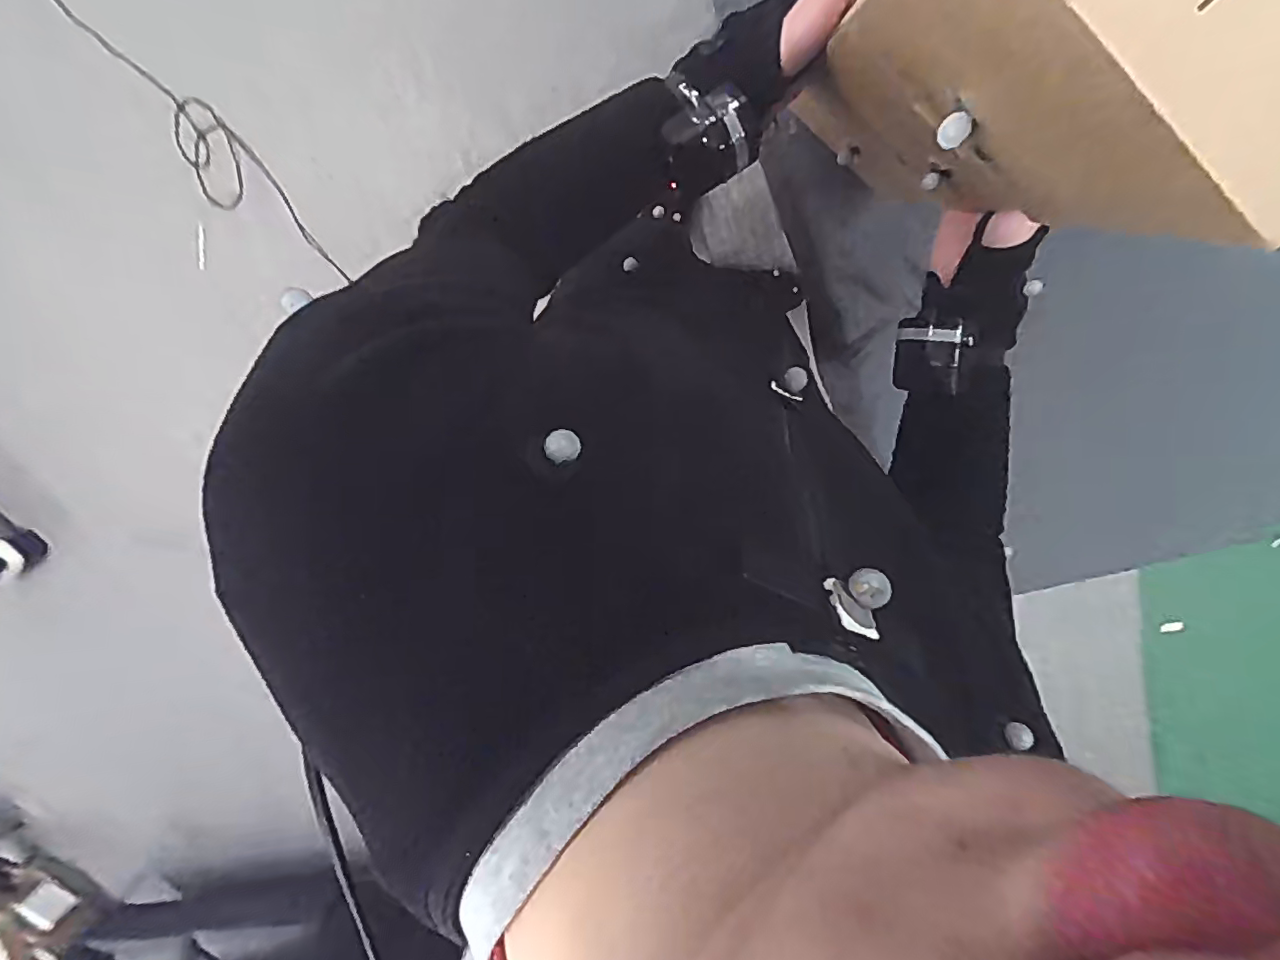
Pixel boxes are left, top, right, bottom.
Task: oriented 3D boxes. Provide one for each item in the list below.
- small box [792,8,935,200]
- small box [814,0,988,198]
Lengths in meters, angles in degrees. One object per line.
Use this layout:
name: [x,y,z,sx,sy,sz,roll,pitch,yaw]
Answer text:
small box: [0.255,-0.383,0.484,0.168,0.176,0.179,37,117,-12]
small box: [0.232,-0.303,0.343,0.168,0.176,0.179,34,116,-12]
